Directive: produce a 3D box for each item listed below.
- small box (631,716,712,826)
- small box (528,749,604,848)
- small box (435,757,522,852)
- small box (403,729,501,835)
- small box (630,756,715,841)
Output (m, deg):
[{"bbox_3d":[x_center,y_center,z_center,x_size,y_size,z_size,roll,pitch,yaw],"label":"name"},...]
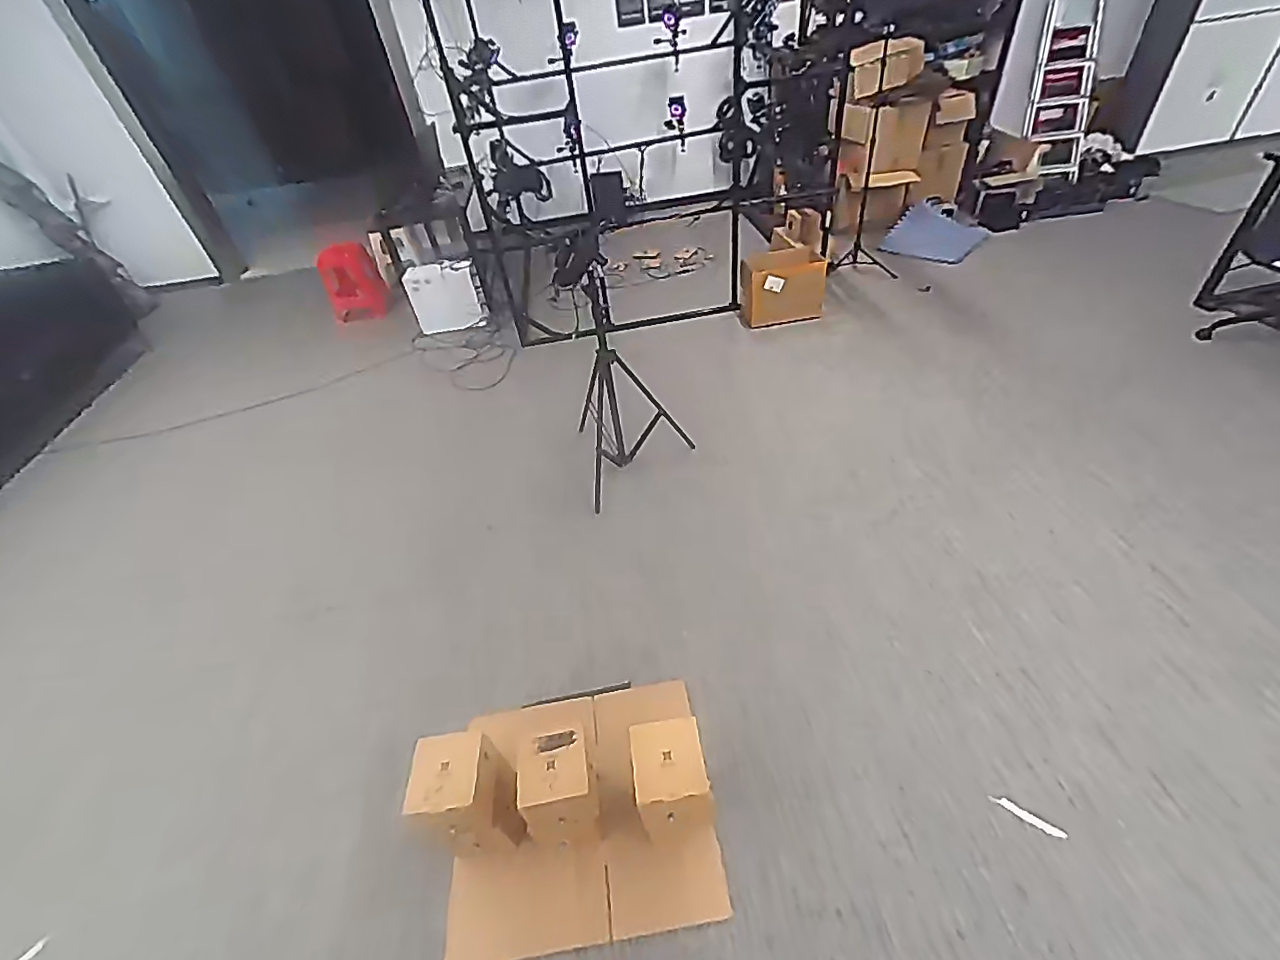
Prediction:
[{"bbox_3d":[0.075,0.695,1.292,0.168,0.176,0.179,-9,43,-1],"label":"small box"},{"bbox_3d":[-0.190,0.838,1.423,0.168,0.176,0.179,-7,42,1],"label":"small box"},{"bbox_3d":[-0.419,0.865,1.433,0.168,0.176,0.179,-9,43,1],"label":"small box"},{"bbox_3d":[-0.449,0.741,1.328,0.168,0.176,0.179,-9,42,2],"label":"small box"},{"bbox_3d":[0.088,0.807,1.410,0.179,0.176,0.168,-16,43,-8],"label":"small box"}]
